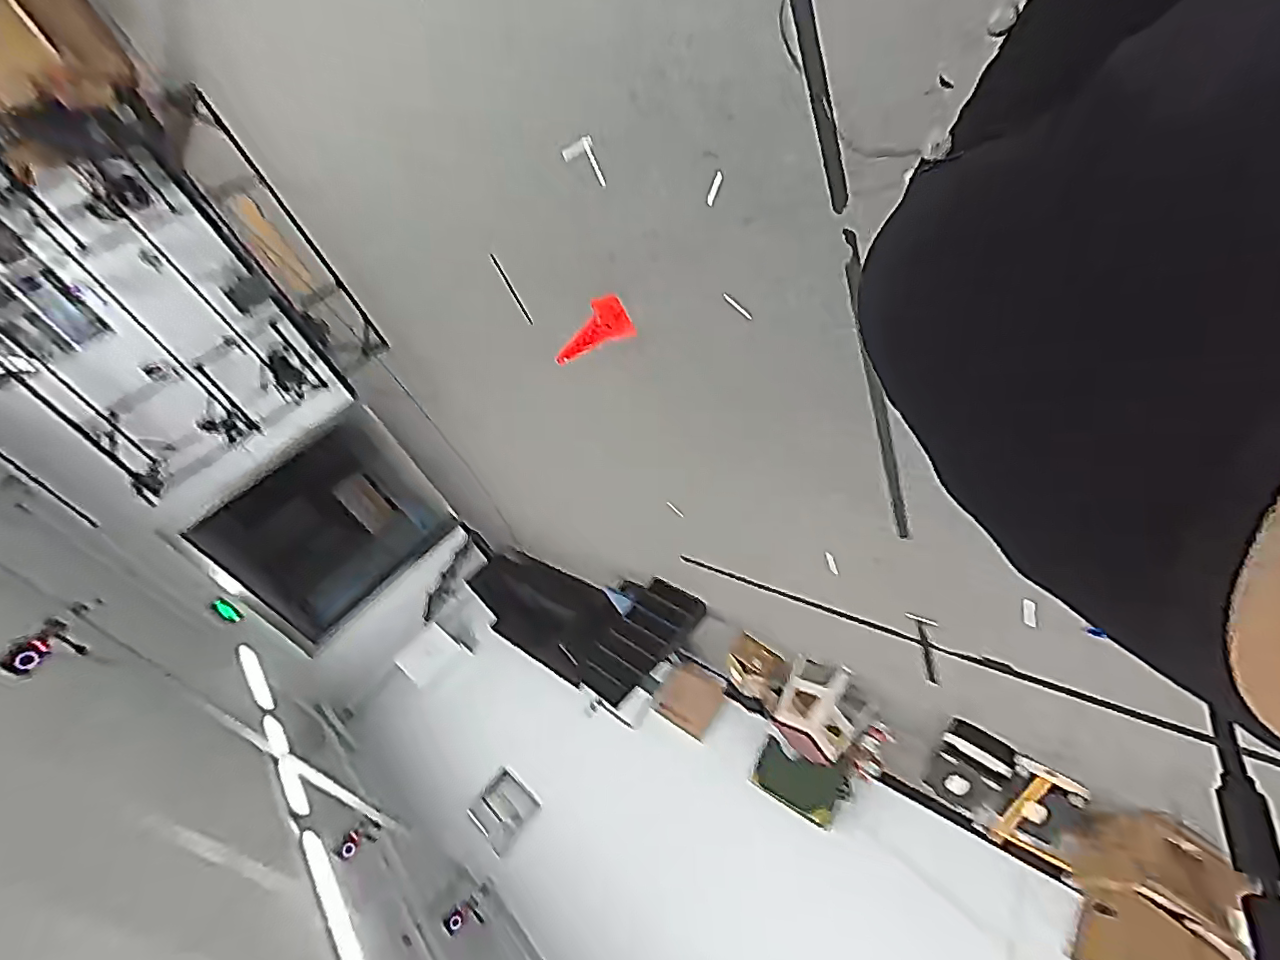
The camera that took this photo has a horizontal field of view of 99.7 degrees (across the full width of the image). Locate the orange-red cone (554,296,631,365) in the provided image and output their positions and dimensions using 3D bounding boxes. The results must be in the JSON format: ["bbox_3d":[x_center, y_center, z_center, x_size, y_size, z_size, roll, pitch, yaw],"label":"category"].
[{"bbox_3d":[-0.239,-0.613,2.344,0.198,0.360,0.199,10,140,50],"label":"orange-red cone"}]
